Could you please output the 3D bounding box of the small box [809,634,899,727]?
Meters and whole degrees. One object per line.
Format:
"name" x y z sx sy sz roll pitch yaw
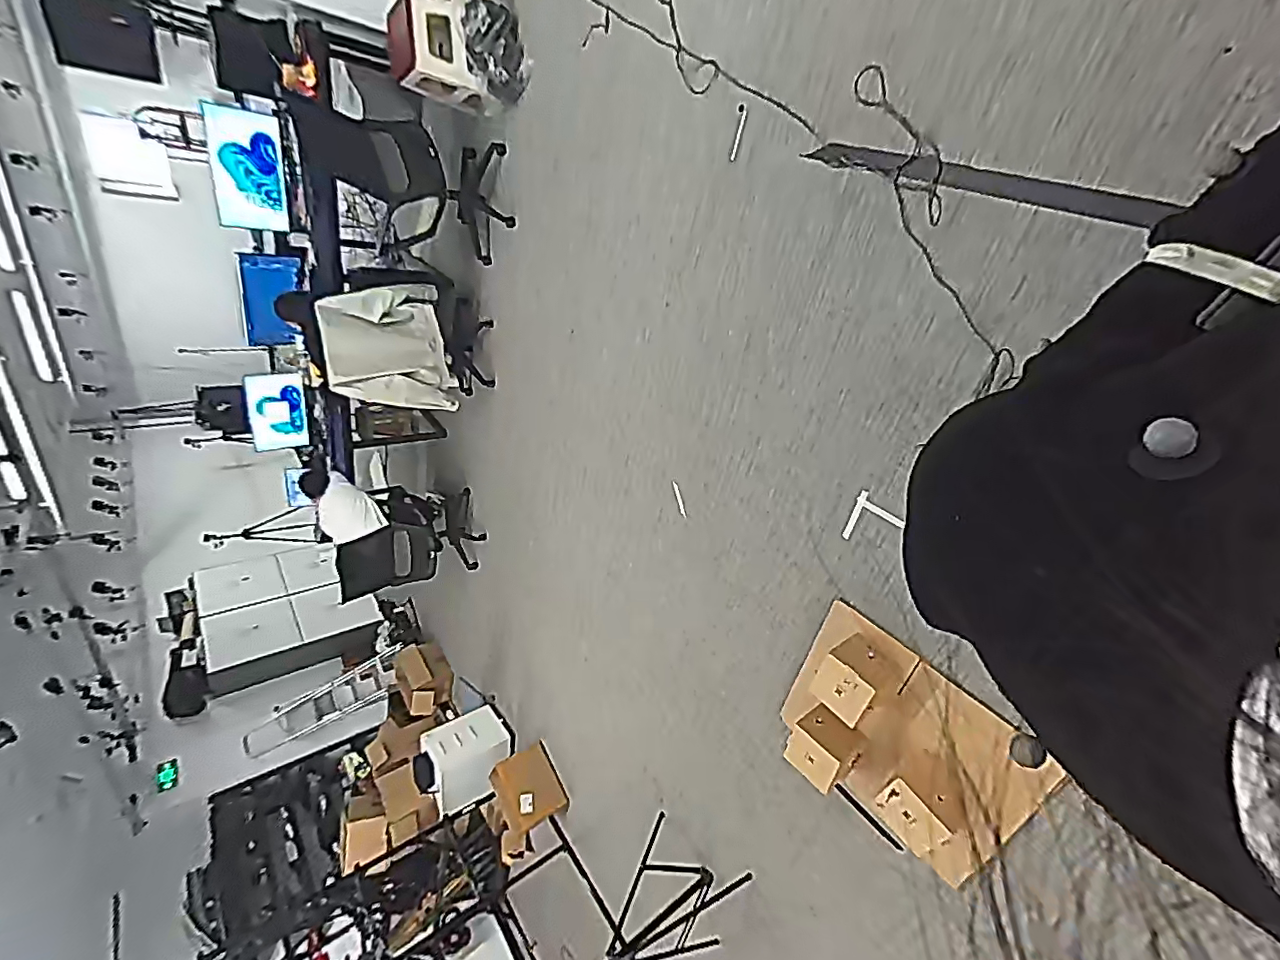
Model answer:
"small box" 0.663 0.613 1.670 0.168 0.176 0.179 39 127 37

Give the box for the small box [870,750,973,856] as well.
"small box" 0.816 0.929 1.564 0.179 0.176 0.168 46 132 31

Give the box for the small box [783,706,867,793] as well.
"small box" 0.617 0.887 1.806 0.179 0.176 0.168 34 126 41
